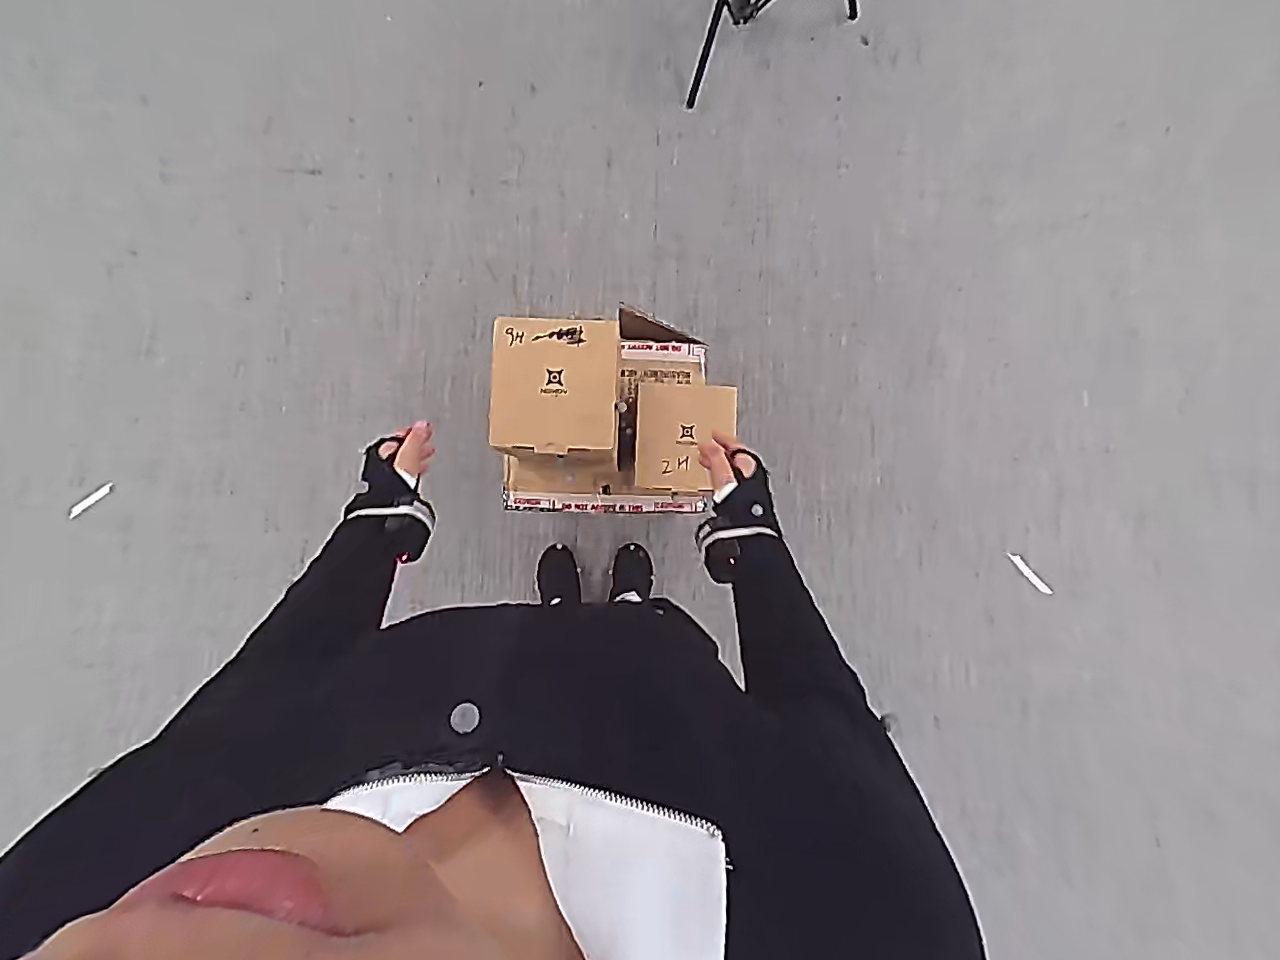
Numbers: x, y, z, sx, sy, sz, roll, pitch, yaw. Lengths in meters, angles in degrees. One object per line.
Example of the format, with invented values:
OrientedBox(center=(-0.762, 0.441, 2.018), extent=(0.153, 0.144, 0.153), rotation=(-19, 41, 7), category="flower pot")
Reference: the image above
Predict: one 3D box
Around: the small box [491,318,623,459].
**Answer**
OrientedBox(center=(-0.111, -0.123, 0.791), extent=(0.168, 0.176, 0.179), rotation=(2, 89, 0), category="small box")

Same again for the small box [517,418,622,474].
OrientedBox(center=(-0.118, -0.103, 0.954), extent=(0.168, 0.176, 0.179), rotation=(0, 89, 0), category="small box")

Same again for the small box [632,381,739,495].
OrientedBox(center=(0.073, -0.067, 0.958), extent=(0.168, 0.176, 0.179), rotation=(2, 87, -3), category="small box")
